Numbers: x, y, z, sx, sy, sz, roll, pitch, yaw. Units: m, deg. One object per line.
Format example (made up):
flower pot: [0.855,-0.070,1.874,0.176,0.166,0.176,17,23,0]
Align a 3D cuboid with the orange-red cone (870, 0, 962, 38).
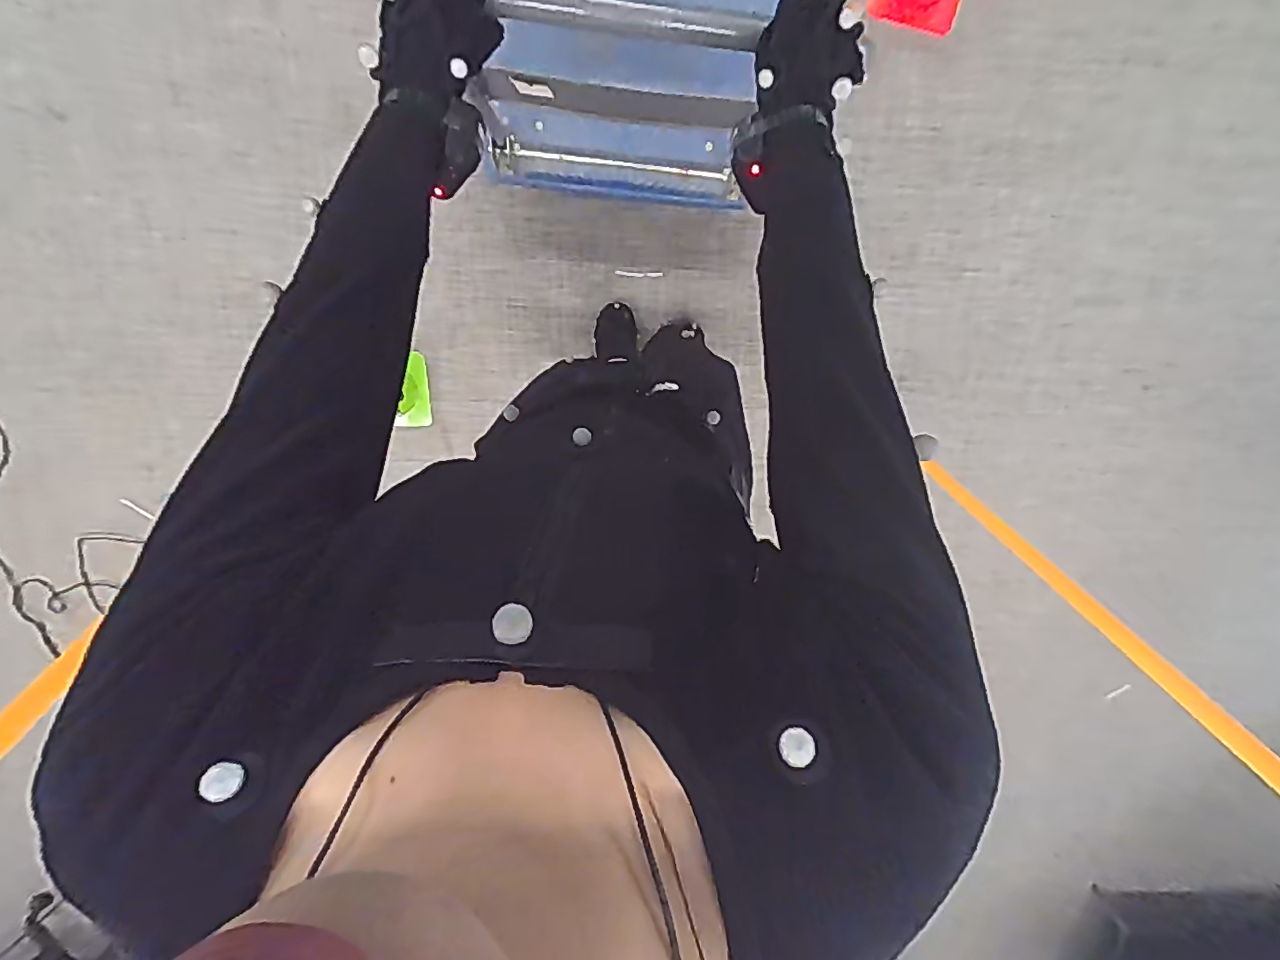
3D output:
orange-red cone: [0.628,-1.049,1.024,0.198,0.360,0.199,12,109,-5]
